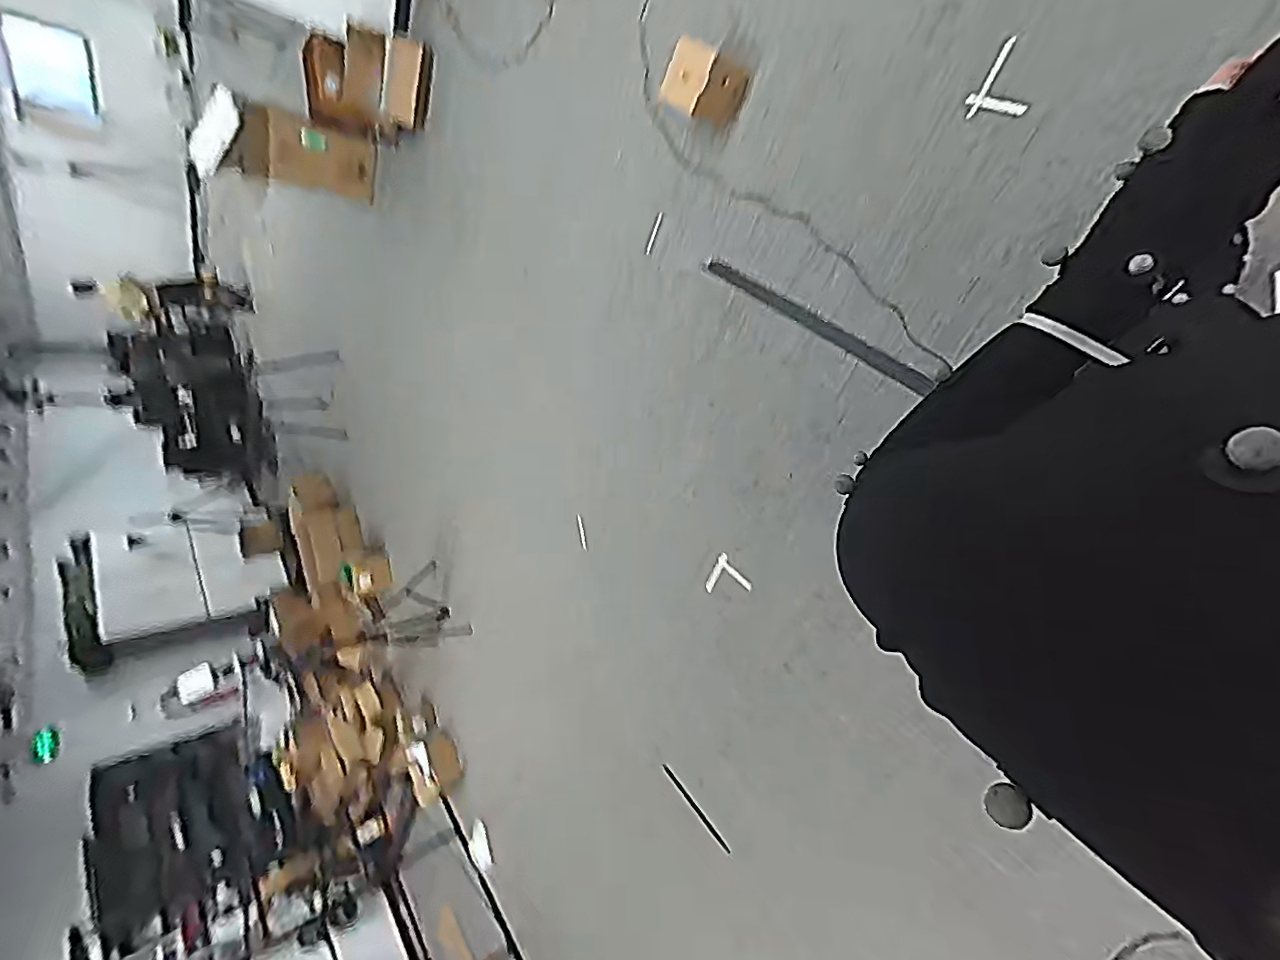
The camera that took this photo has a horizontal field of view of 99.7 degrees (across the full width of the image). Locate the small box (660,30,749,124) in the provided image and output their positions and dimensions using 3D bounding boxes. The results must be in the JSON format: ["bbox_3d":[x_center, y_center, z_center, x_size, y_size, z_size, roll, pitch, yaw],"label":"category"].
[{"bbox_3d":[0.203,-1.241,1.676,0.179,0.176,0.168,51,128,28],"label":"small box"}]
